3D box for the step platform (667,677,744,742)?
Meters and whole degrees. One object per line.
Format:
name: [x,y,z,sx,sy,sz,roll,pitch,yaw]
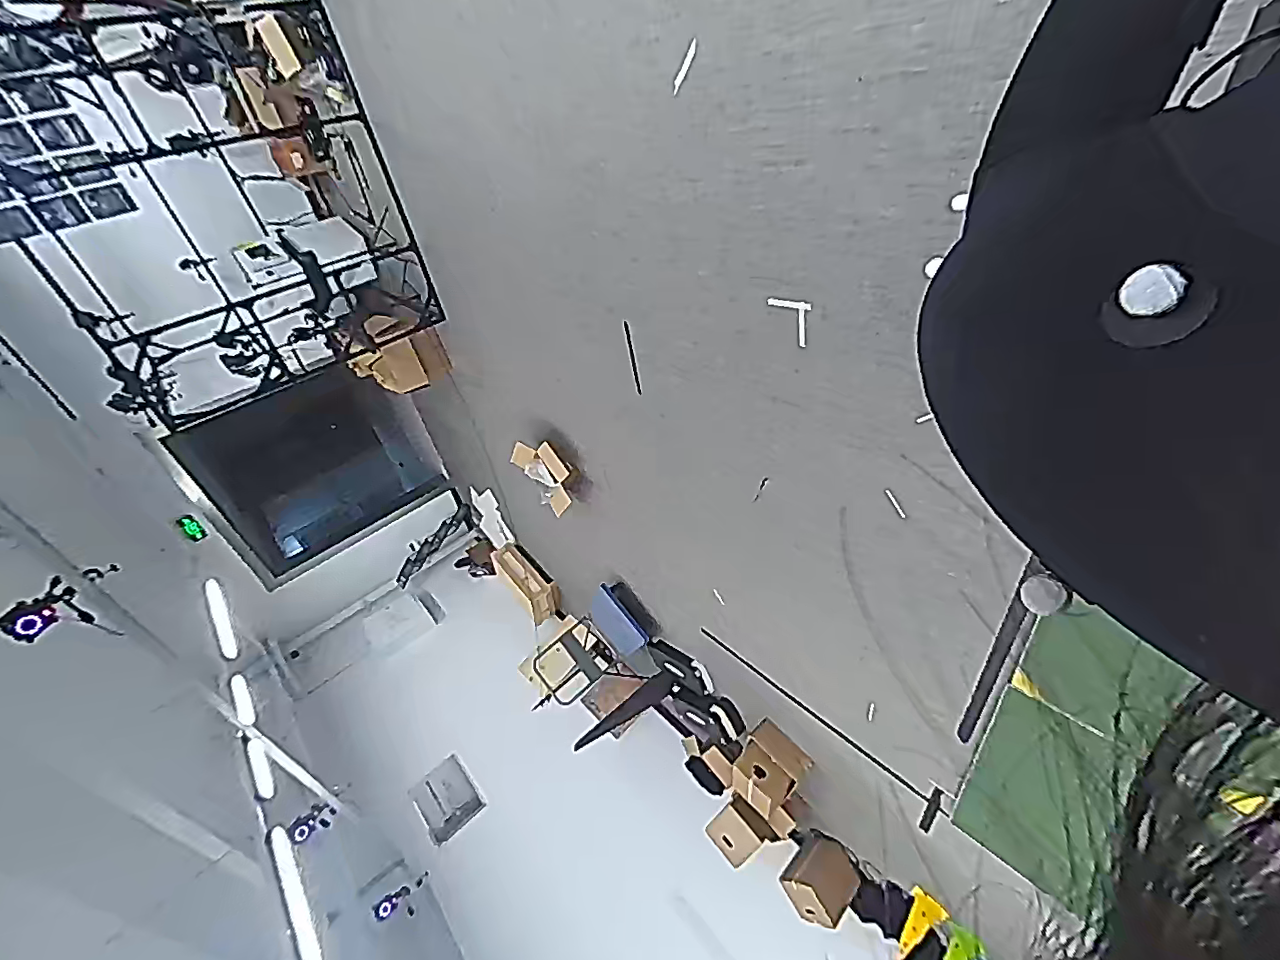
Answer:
step platform: [0.494,1.806,4.264,0.684,0.204,0.286,-8,113,59]
